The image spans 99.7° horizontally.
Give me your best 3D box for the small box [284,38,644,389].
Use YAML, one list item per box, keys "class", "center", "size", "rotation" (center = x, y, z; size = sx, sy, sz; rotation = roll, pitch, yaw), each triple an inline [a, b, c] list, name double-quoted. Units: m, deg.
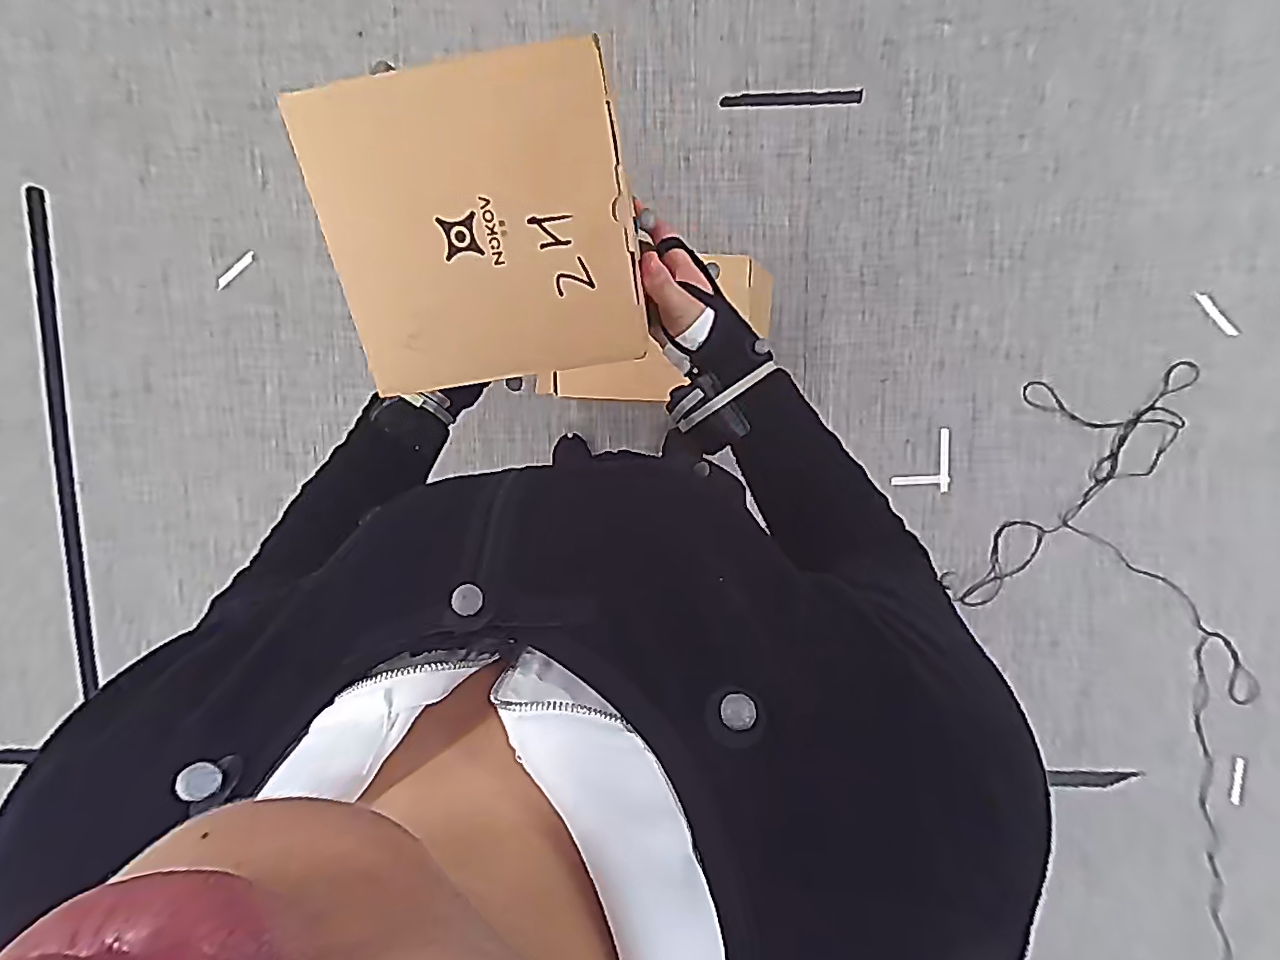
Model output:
- class: "small box"
  center: [-0.095, -0.172, 0.387]
  size: [0.179, 0.176, 0.168]
  rotation: [-8, 113, 4]
